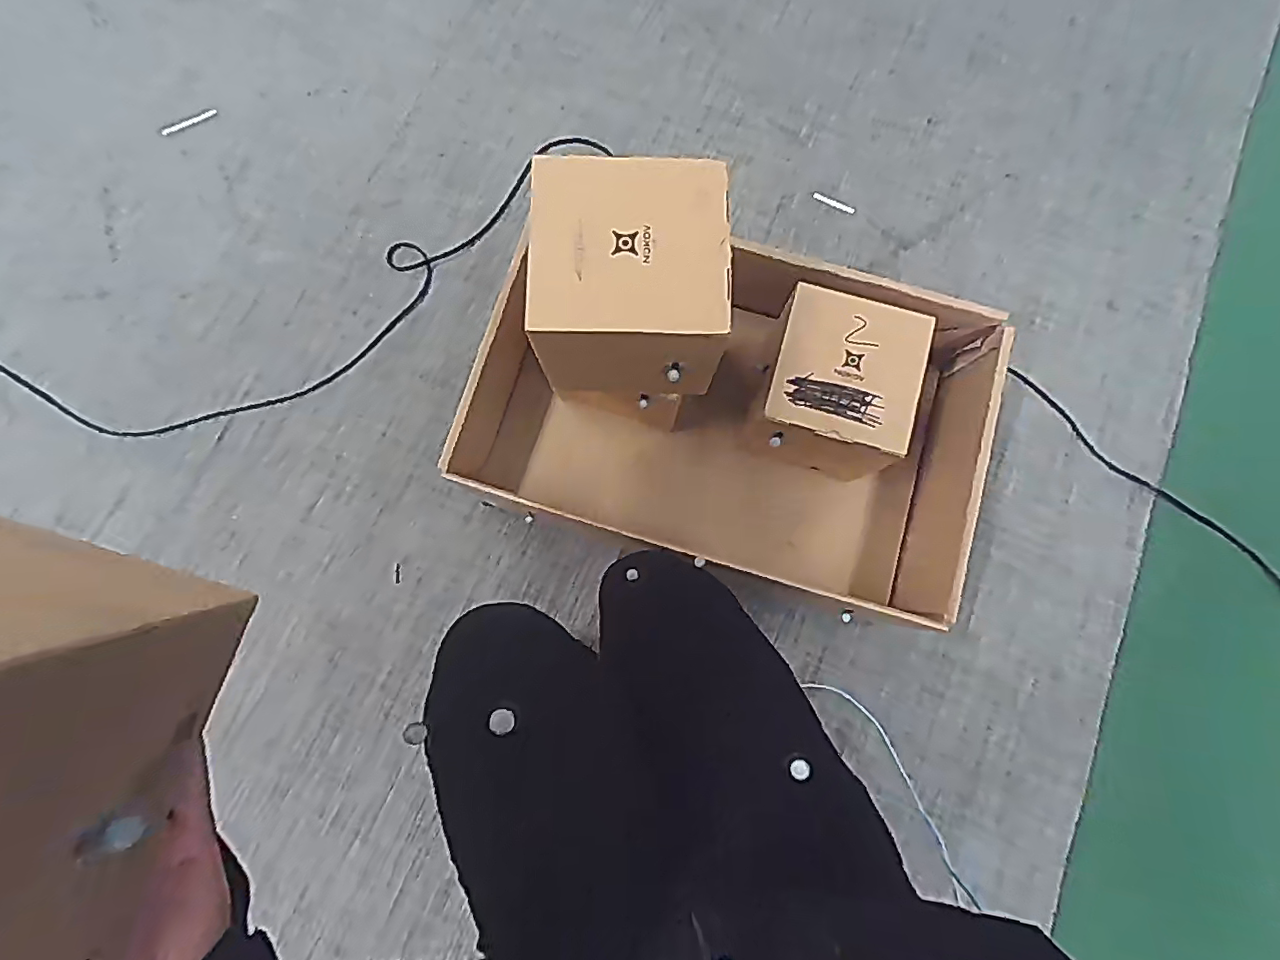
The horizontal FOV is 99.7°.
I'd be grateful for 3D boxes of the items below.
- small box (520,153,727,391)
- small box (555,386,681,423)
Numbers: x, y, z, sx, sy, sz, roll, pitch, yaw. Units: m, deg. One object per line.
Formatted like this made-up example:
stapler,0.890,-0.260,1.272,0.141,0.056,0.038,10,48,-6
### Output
small box,-0.014,-0.192,0.542,0.179,0.176,0.168,1,82,0
small box,-0.018,-0.187,0.706,0.179,0.176,0.168,17,83,1
